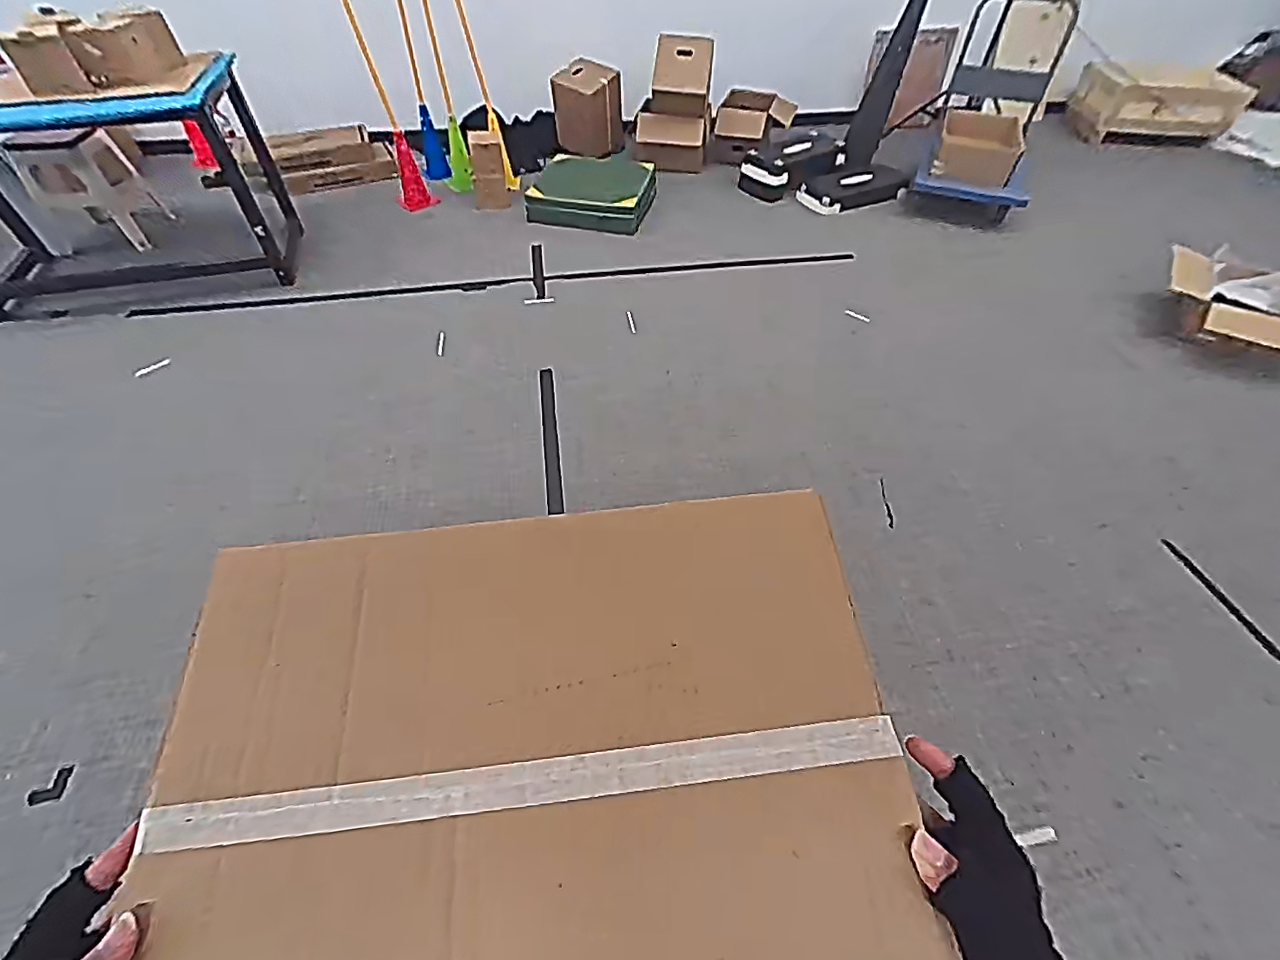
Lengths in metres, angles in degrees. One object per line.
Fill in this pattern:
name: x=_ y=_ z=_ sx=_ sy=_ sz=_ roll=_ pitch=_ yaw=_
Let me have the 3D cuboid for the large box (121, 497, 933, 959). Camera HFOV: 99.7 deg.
large box: x=-0.061 y=0.236 z=0.436 sx=0.408 sy=0.320 sz=0.320 roll=-6 pitch=61 yaw=-2
